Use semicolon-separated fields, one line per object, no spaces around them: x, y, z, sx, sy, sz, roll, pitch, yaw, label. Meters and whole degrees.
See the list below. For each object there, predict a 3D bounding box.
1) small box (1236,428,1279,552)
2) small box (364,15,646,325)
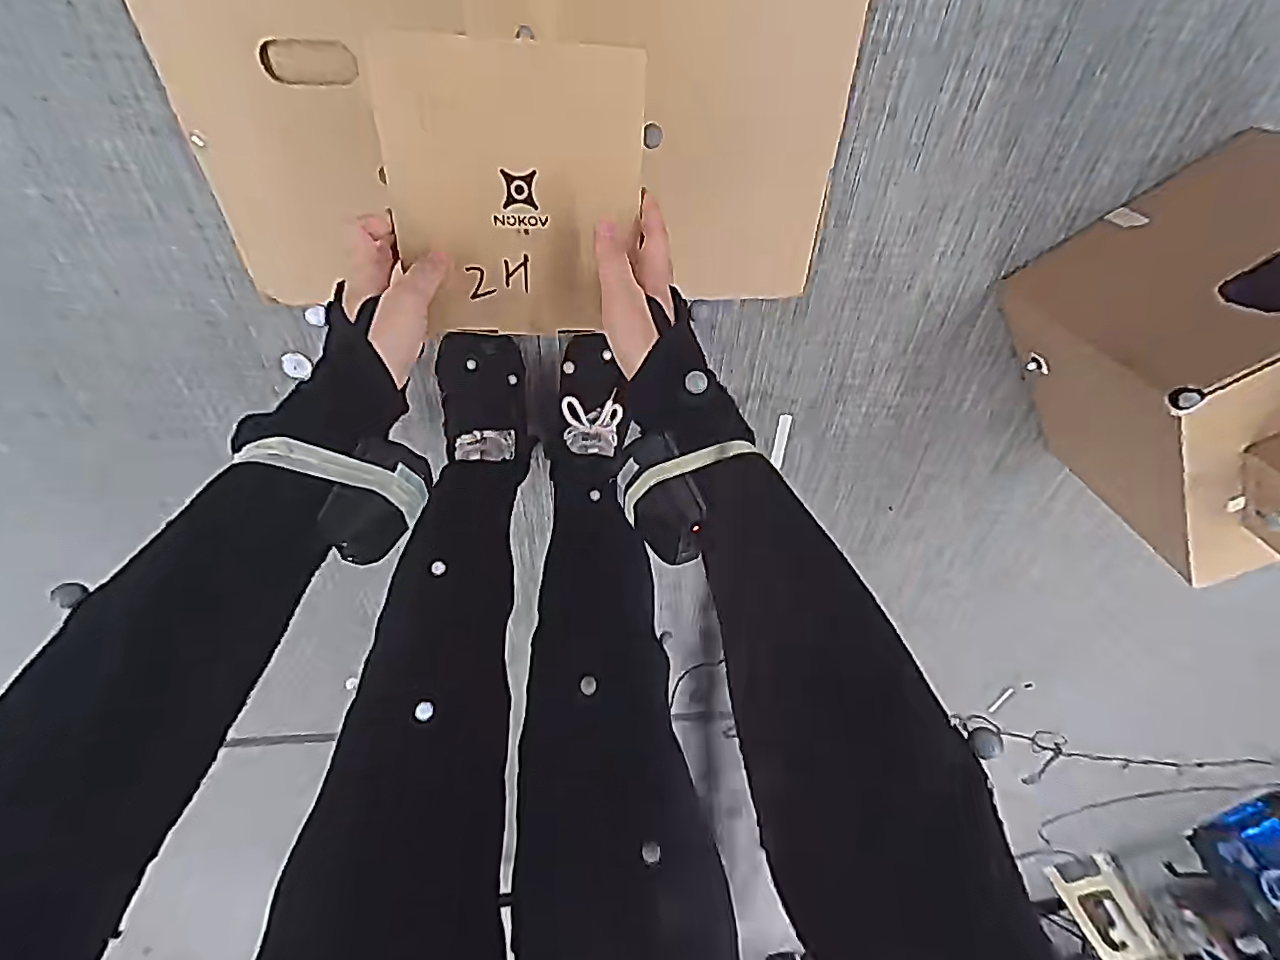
0.751;0.015;0.519;0.179;0.176;0.168;-33;126;21;small box
-0.091;-0.234;0.426;0.168;0.176;0.179;-1;123;-7;small box
